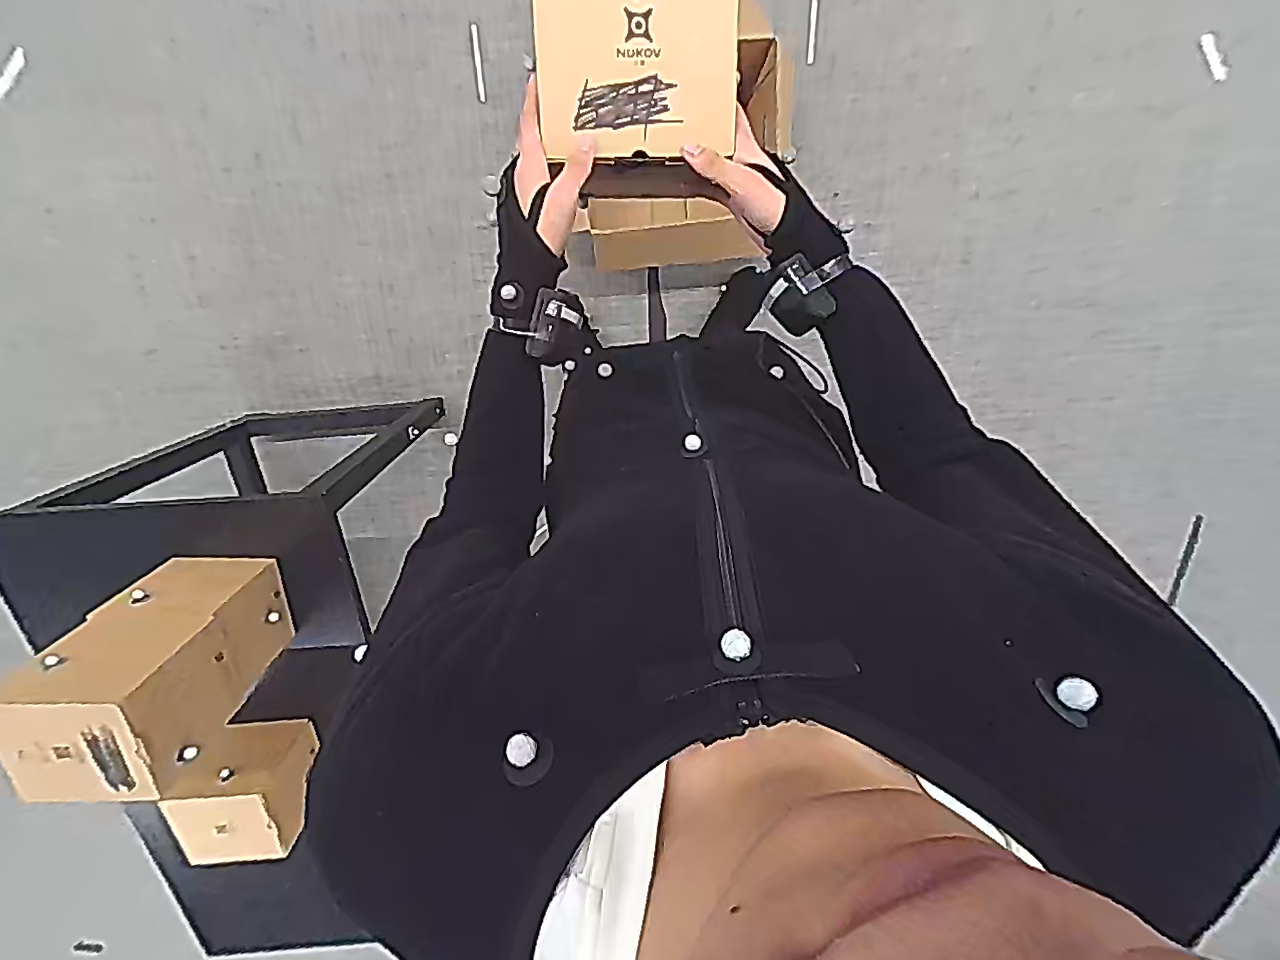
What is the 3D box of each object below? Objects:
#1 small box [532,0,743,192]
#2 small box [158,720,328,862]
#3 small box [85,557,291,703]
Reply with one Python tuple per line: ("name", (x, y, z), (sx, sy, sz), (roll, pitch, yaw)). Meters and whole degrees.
("small box", (-0.007, -0.375, 0.497), (0.168, 0.176, 0.179), (-3, 107, -5))
("small box", (-0.736, 0.581, 1.024), (0.179, 0.176, 0.168), (-4, 112, -1))
("small box", (-0.717, 0.238, 0.882), (0.179, 0.176, 0.168), (1, 113, -3))
